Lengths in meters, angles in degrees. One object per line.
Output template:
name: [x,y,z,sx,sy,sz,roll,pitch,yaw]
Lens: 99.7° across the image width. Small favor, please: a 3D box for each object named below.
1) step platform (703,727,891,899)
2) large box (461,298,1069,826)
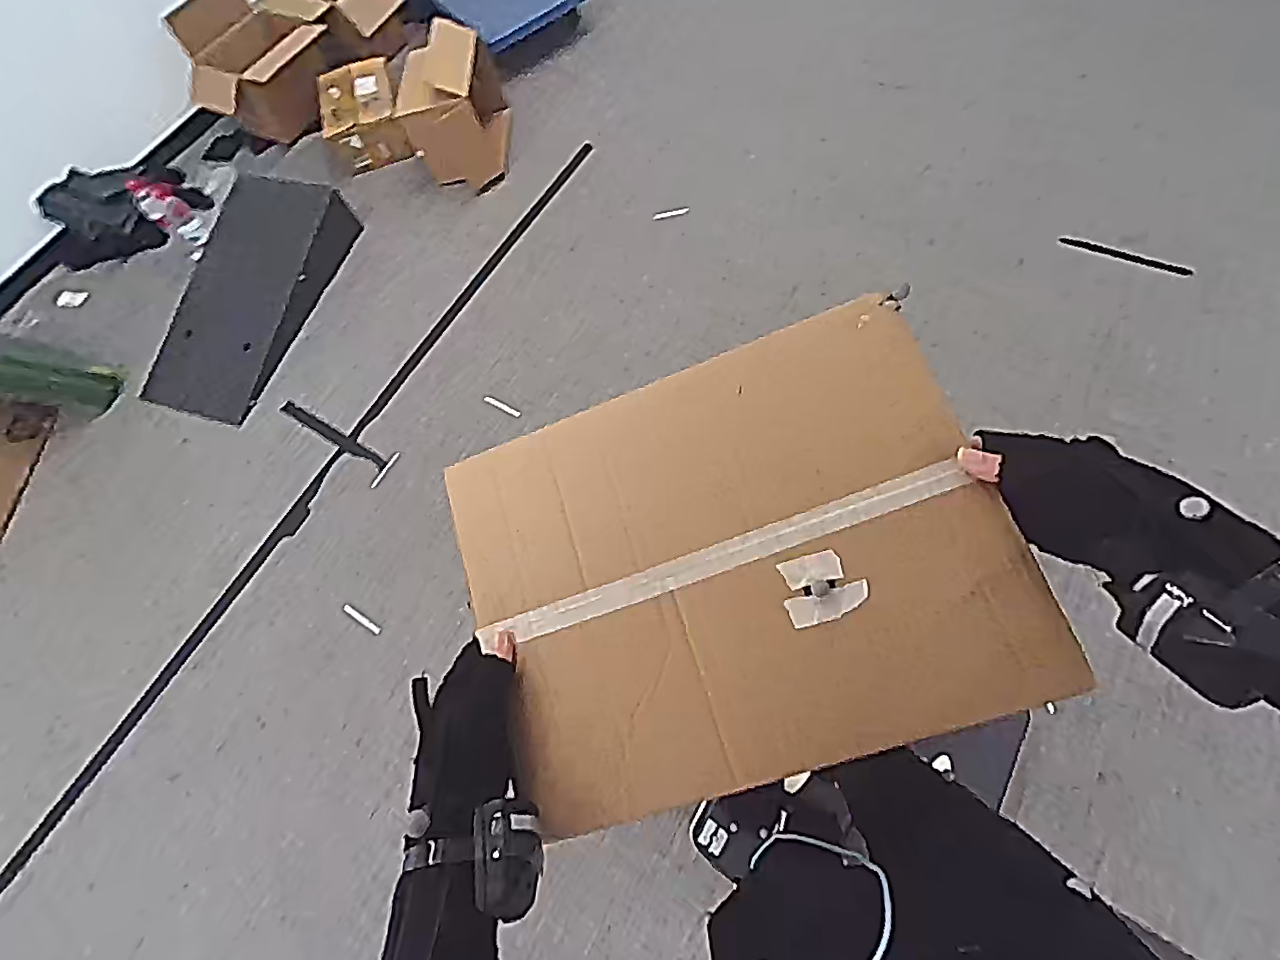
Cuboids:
step platform: [0.419,0.582,1.304,0.286,0.204,0.684,25,73,17]
large box: [0.094,0.091,0.571,0.408,0.320,0.320,-21,75,8]
